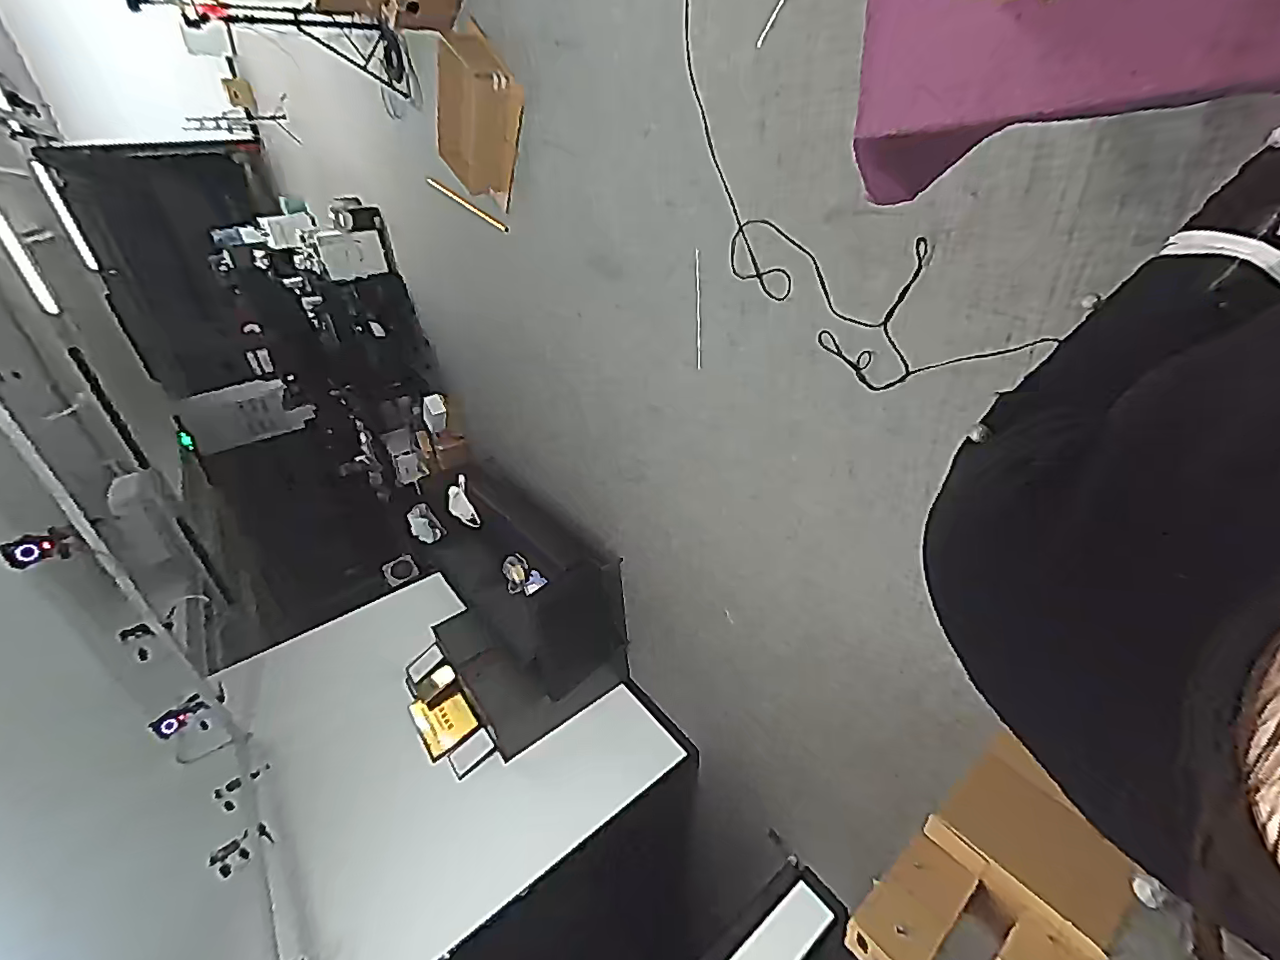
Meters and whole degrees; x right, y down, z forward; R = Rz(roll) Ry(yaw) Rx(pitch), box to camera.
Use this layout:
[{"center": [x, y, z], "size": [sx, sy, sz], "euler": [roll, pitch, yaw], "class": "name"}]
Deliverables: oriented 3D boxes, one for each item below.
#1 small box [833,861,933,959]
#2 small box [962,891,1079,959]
[{"center": [0.656, 1.187, 1.469], "size": [0.179, 0.176, 0.168], "euler": [30, 136, 41], "class": "small box"}, {"center": [0.944, 1.178, 1.341], "size": [0.168, 0.176, 0.179], "euler": [34, 138, 43], "class": "small box"}]
